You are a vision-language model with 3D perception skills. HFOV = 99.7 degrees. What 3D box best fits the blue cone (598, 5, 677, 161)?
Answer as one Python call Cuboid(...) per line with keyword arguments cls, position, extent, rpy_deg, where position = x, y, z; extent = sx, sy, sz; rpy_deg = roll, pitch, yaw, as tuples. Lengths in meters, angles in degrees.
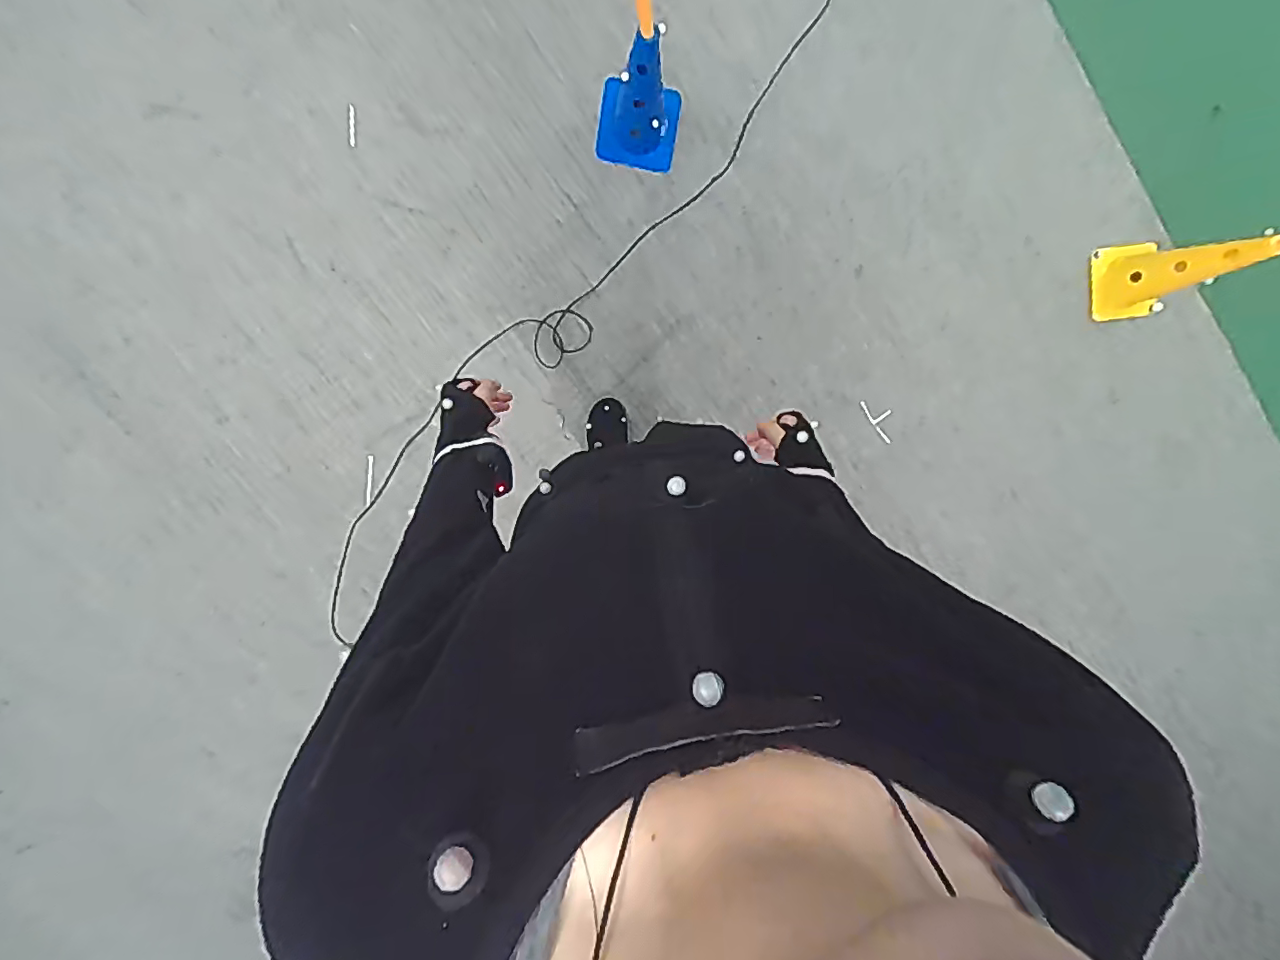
Cuboid(cls="blue cone", position=(0.000, -0.886, 1.195), extent=(0.193, 0.380, 0.192), rpy_deg=(8, 98, -4))
